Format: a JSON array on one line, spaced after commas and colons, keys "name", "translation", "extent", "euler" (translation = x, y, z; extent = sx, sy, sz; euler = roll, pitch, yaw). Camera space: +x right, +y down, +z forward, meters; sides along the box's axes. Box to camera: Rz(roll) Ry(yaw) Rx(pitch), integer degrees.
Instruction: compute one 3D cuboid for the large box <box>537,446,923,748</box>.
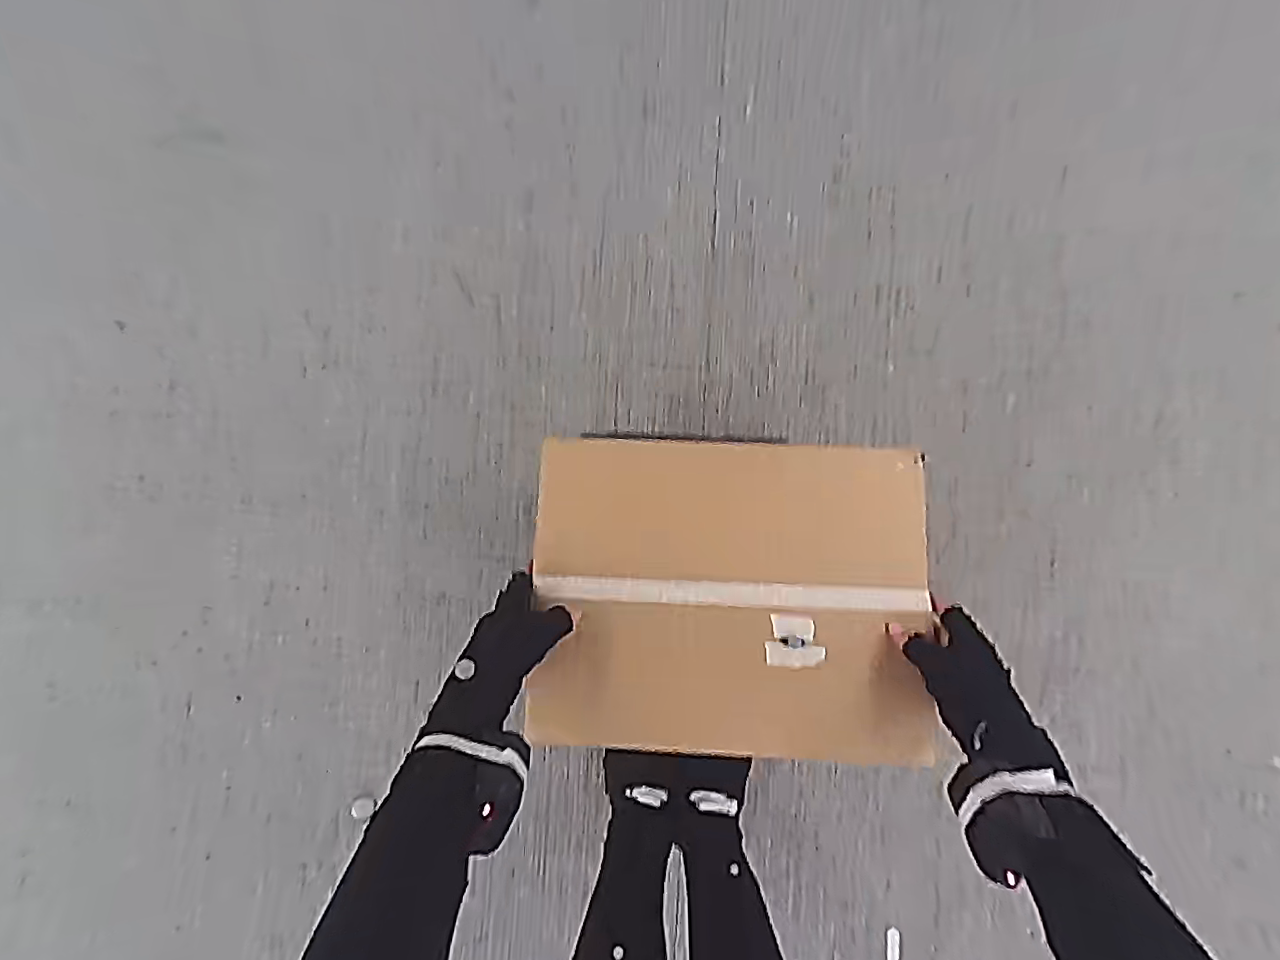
[{"name": "large box", "translation": [0.098, 0.141, 0.724], "extent": [0.408, 0.320, 0.320], "euler": [2, 82, 3]}]
